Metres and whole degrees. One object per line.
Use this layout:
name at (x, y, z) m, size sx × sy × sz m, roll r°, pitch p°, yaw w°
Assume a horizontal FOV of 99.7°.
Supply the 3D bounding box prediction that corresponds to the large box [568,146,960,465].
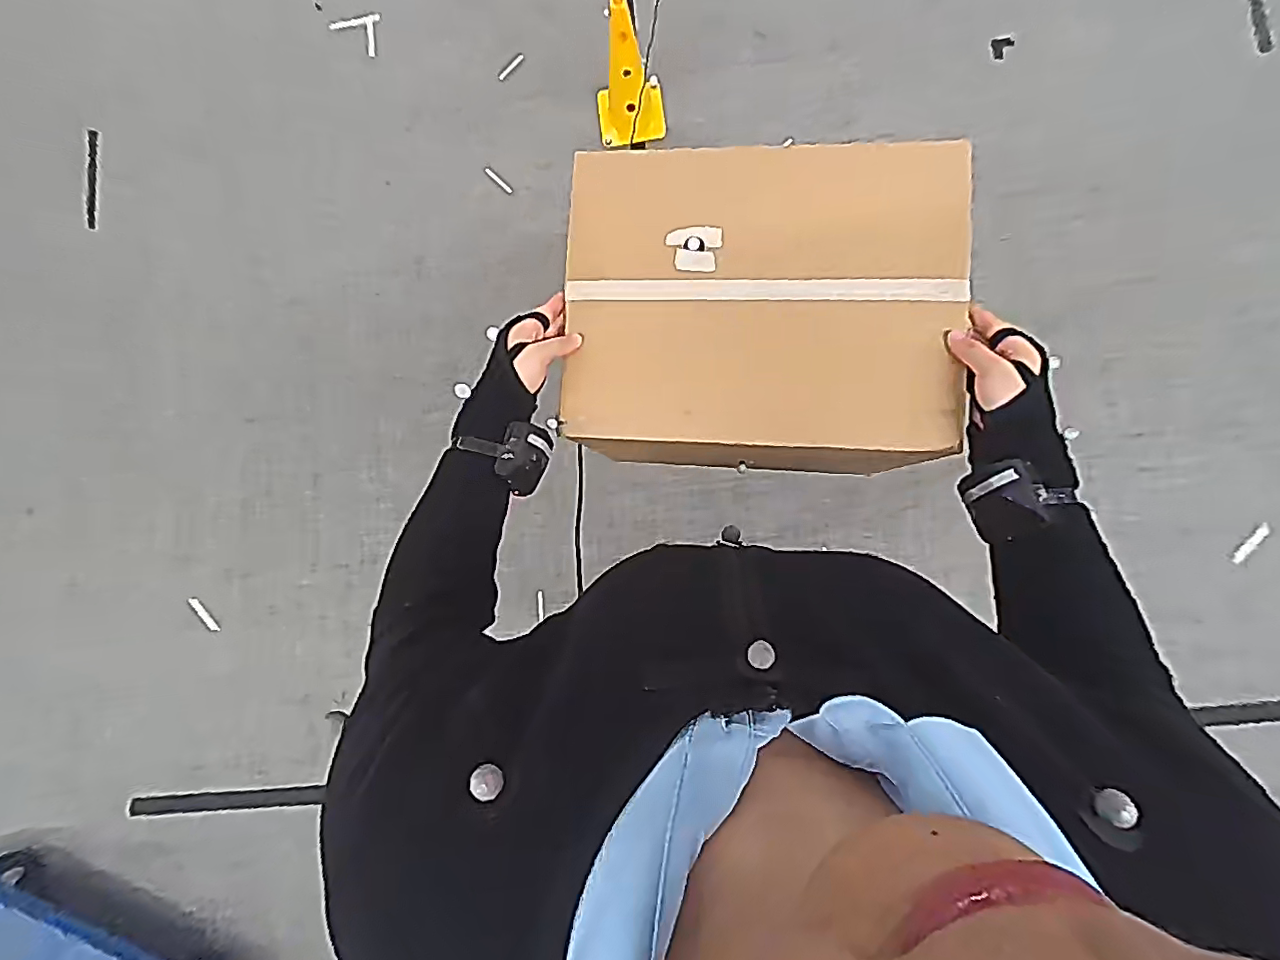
large box at (0.145, -0.186, 0.716) m, size 0.408 × 0.320 × 0.320 m, roll 3°, pitch 86°, yaw 8°
